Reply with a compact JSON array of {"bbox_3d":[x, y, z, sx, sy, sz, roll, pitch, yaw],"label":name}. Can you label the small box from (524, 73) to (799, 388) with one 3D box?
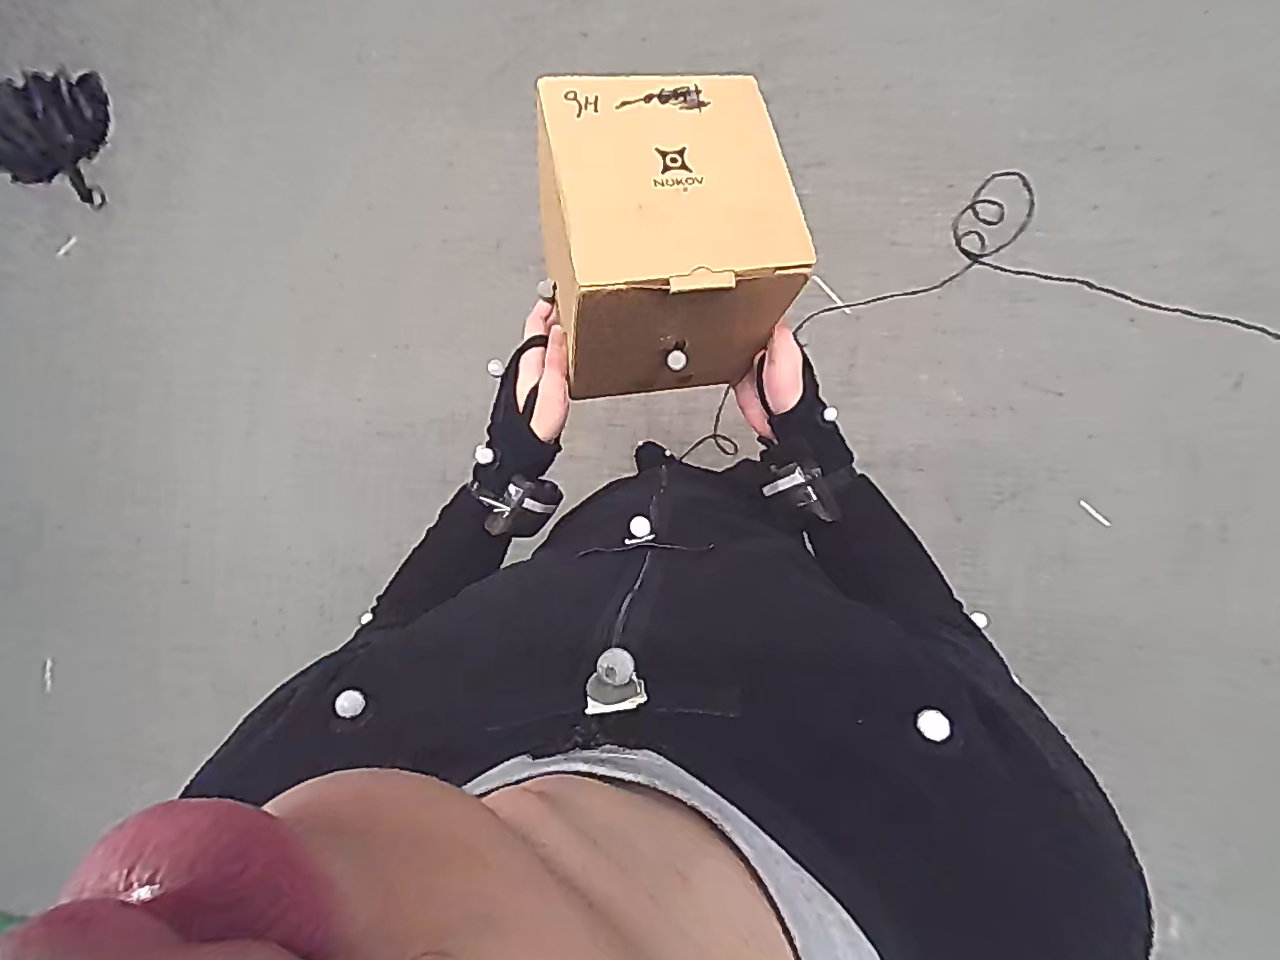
[{"bbox_3d":[0.002,-0.186,0.443,0.168,0.176,0.179,-8,76,-12],"label":"small box"}]
